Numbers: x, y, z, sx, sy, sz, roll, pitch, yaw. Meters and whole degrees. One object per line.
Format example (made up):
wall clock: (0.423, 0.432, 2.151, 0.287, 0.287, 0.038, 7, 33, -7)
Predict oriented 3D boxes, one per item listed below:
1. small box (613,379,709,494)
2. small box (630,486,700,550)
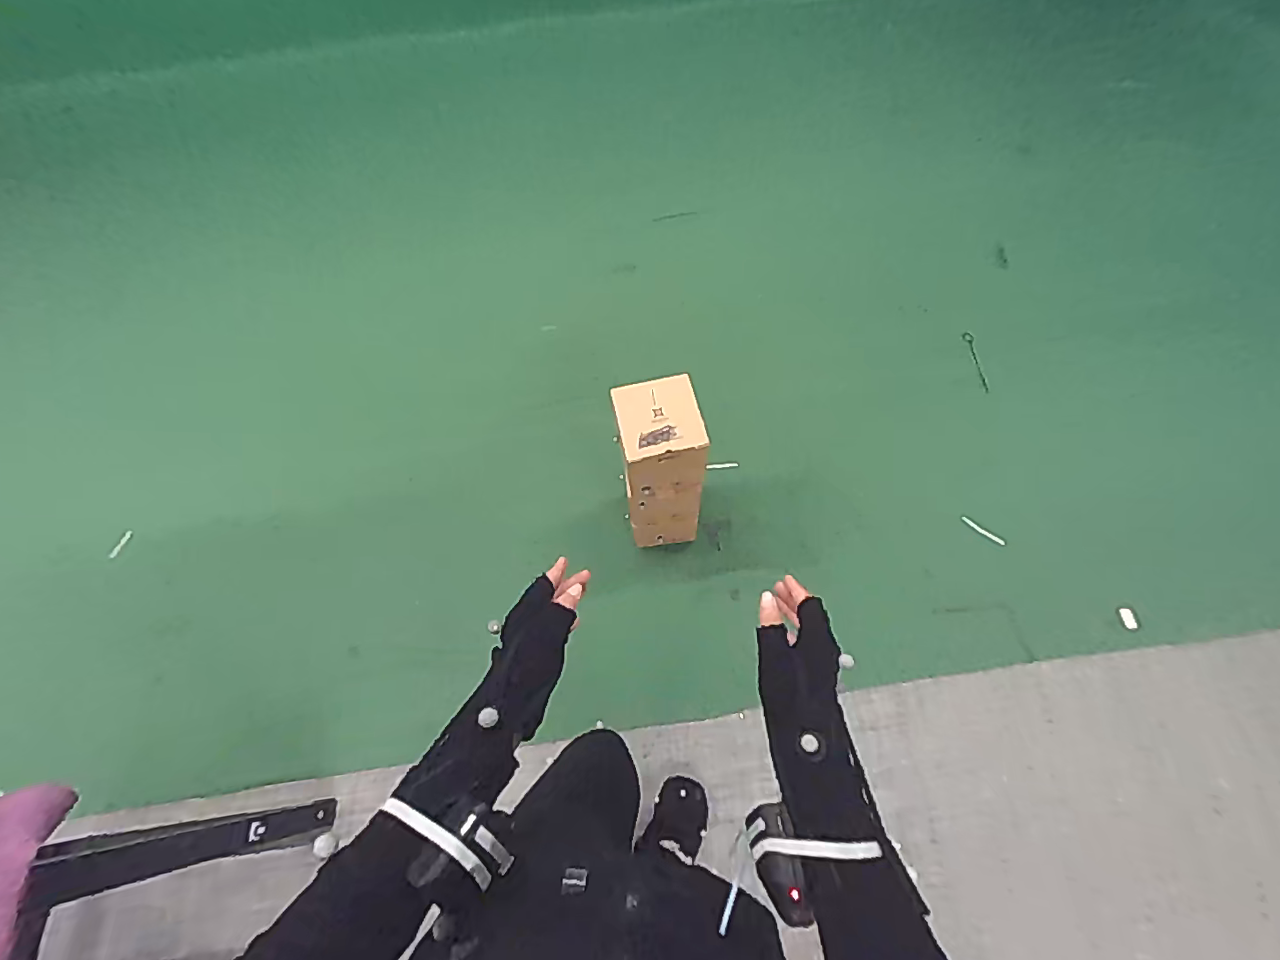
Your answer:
small box: (0.044, -0.083, 1.149, 0.168, 0.176, 0.179, -12, 63, -4)
small box: (0.062, 0.072, 1.439, 0.168, 0.176, 0.179, -7, 65, -1)
